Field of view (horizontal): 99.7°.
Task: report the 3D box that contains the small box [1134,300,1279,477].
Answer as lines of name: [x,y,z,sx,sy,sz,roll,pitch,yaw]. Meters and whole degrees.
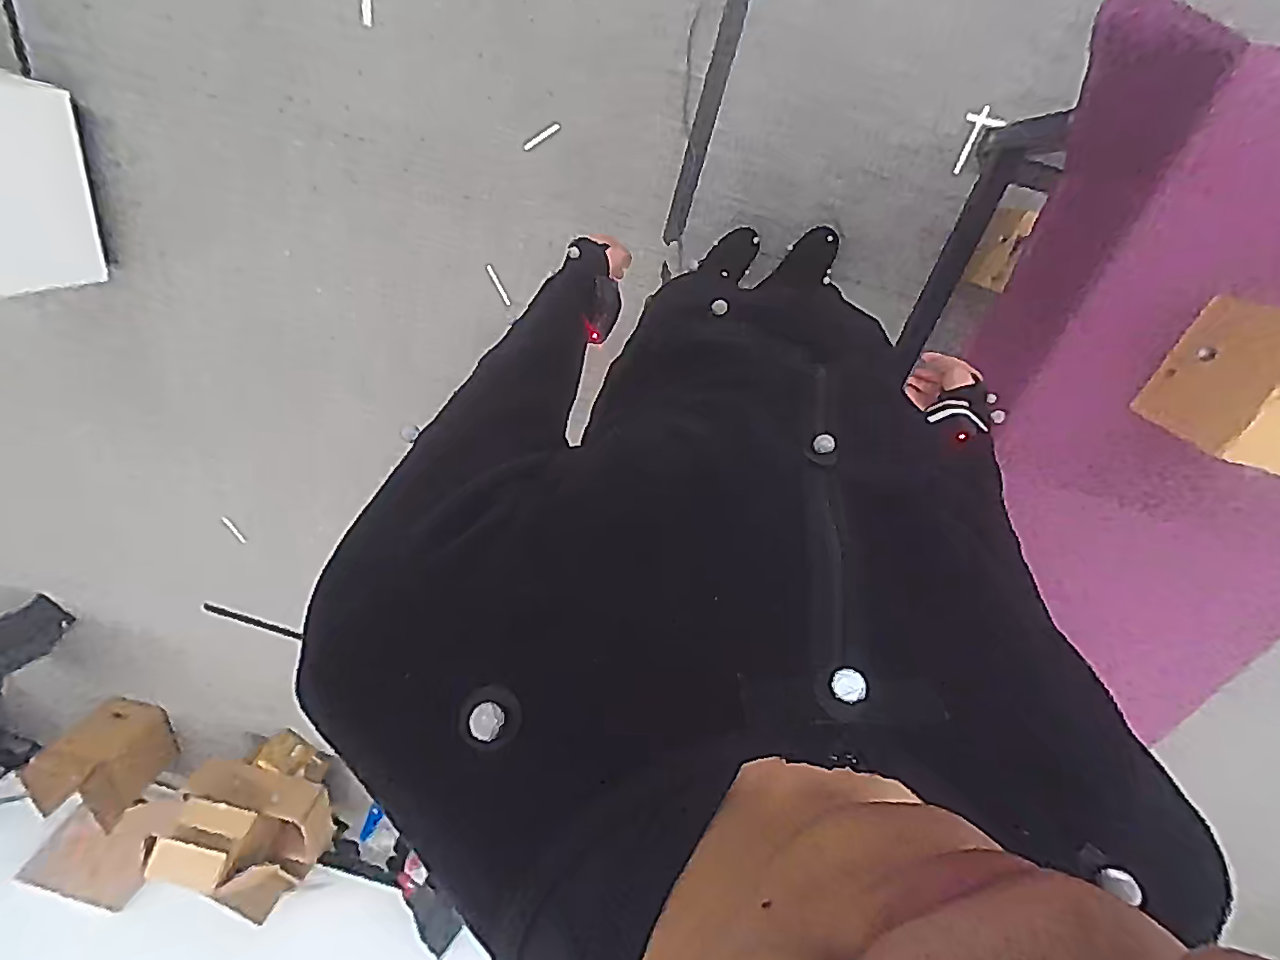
small box: [0.790,-0.109,0.665,0.179,0.176,0.168,17,120,1]
